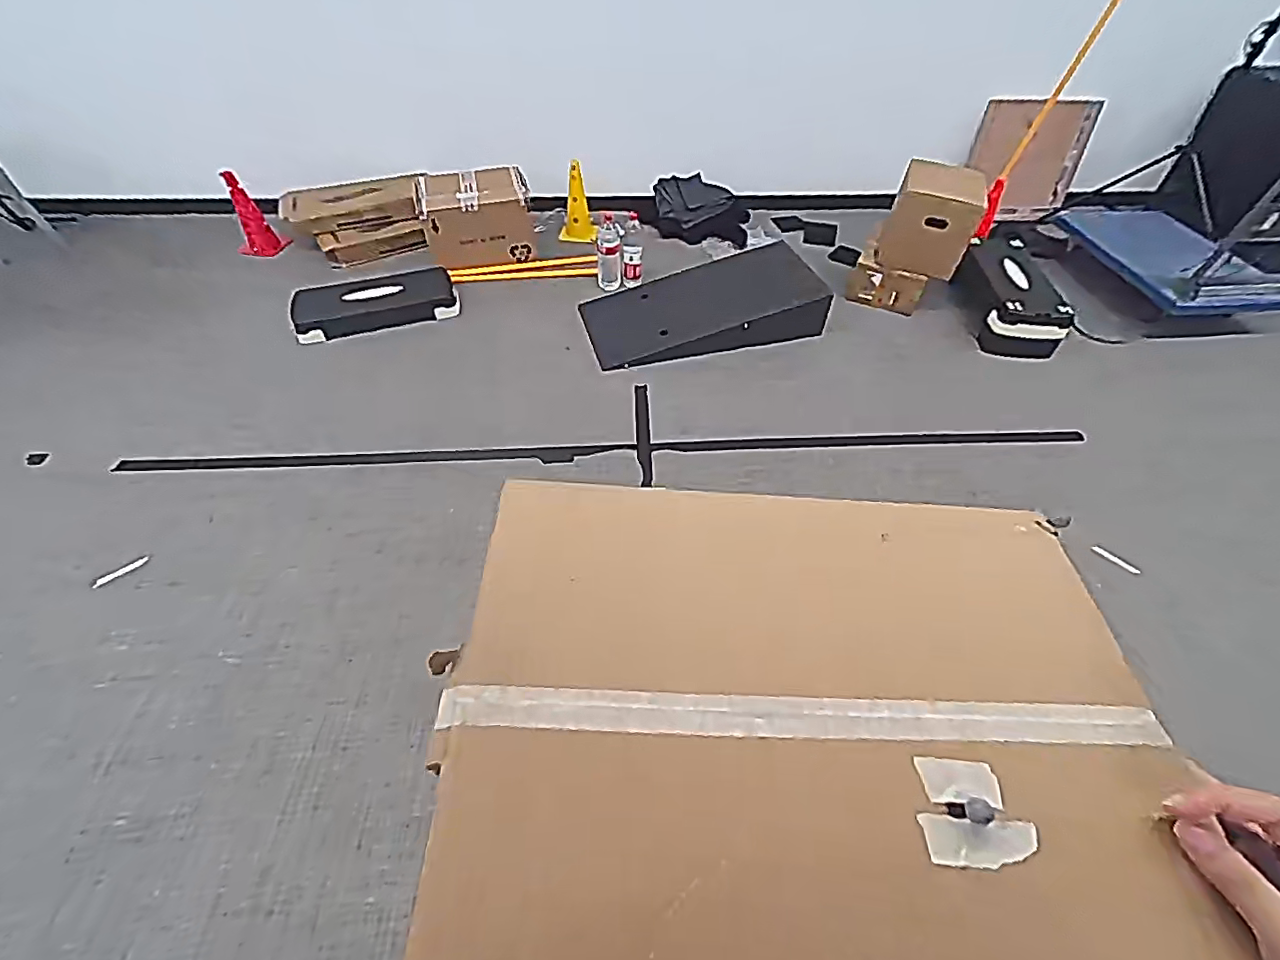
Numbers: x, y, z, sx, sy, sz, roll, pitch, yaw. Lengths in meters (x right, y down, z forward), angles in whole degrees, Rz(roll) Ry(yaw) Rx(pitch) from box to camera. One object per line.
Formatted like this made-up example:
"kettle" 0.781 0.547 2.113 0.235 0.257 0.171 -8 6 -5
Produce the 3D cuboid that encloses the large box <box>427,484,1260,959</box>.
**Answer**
"large box" 0.088 0.225 0.434 0.408 0.320 0.320 4 52 -4
